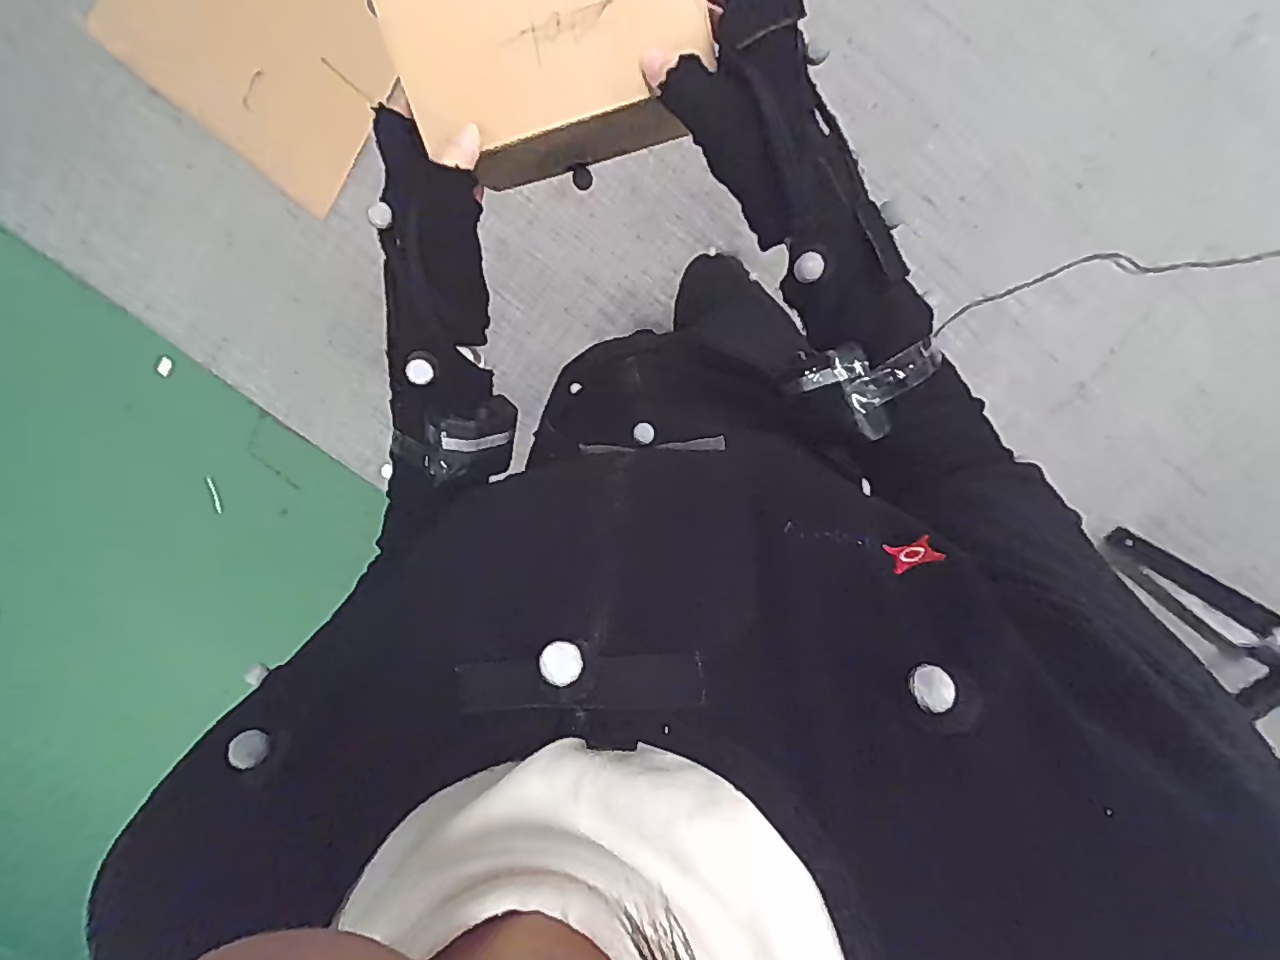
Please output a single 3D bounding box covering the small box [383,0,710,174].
[{"bbox_3d":[-0.059,-0.317,0.339,0.168,0.176,0.179,-13,113,7],"label":"small box"}]
